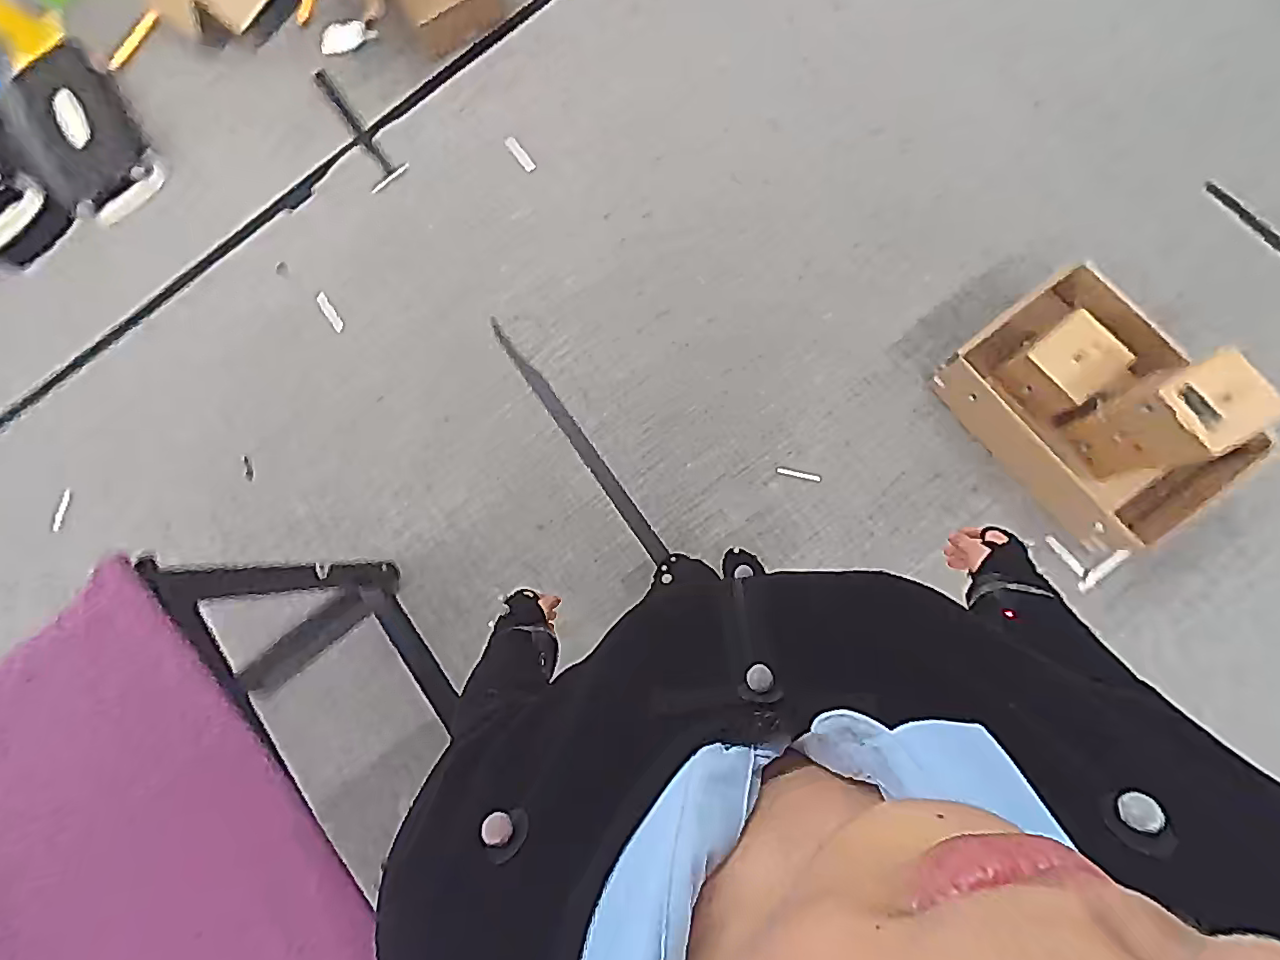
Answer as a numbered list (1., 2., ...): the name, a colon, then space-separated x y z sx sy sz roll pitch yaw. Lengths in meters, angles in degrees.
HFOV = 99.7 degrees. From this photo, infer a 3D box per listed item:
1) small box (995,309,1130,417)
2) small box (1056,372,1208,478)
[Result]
1. small box: 1.034 -0.282 1.349 0.179 0.176 0.168 -40 82 0
2. small box: 1.181 -0.127 1.314 0.179 0.176 0.168 -34 77 2
